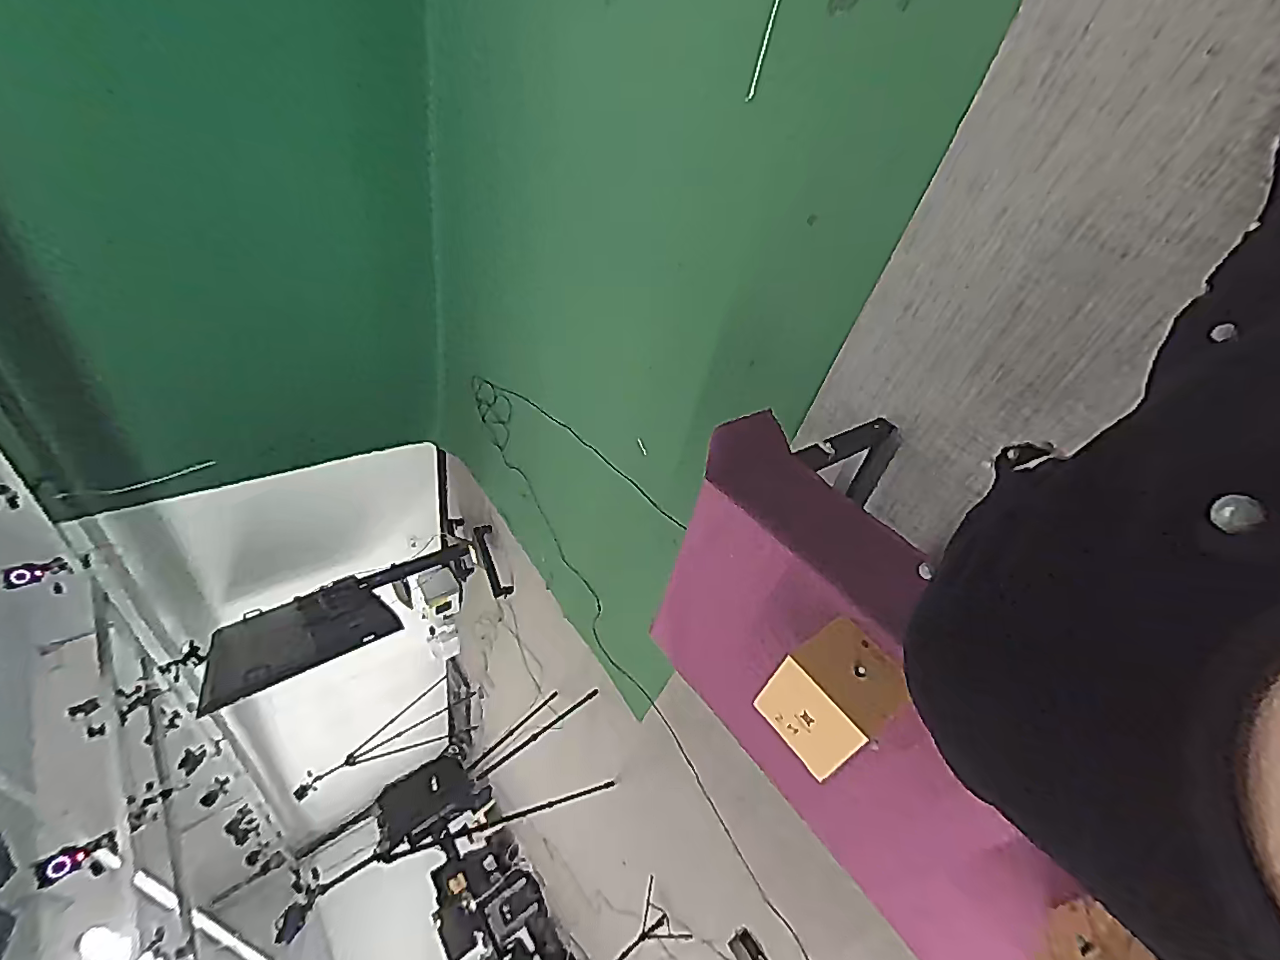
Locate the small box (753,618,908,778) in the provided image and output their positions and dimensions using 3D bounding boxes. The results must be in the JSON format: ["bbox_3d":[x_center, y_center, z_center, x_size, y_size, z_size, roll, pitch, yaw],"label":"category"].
[{"bbox_3d":[0.339,0.377,0.957,0.168,0.176,0.179,46,139,30],"label":"small box"}]
